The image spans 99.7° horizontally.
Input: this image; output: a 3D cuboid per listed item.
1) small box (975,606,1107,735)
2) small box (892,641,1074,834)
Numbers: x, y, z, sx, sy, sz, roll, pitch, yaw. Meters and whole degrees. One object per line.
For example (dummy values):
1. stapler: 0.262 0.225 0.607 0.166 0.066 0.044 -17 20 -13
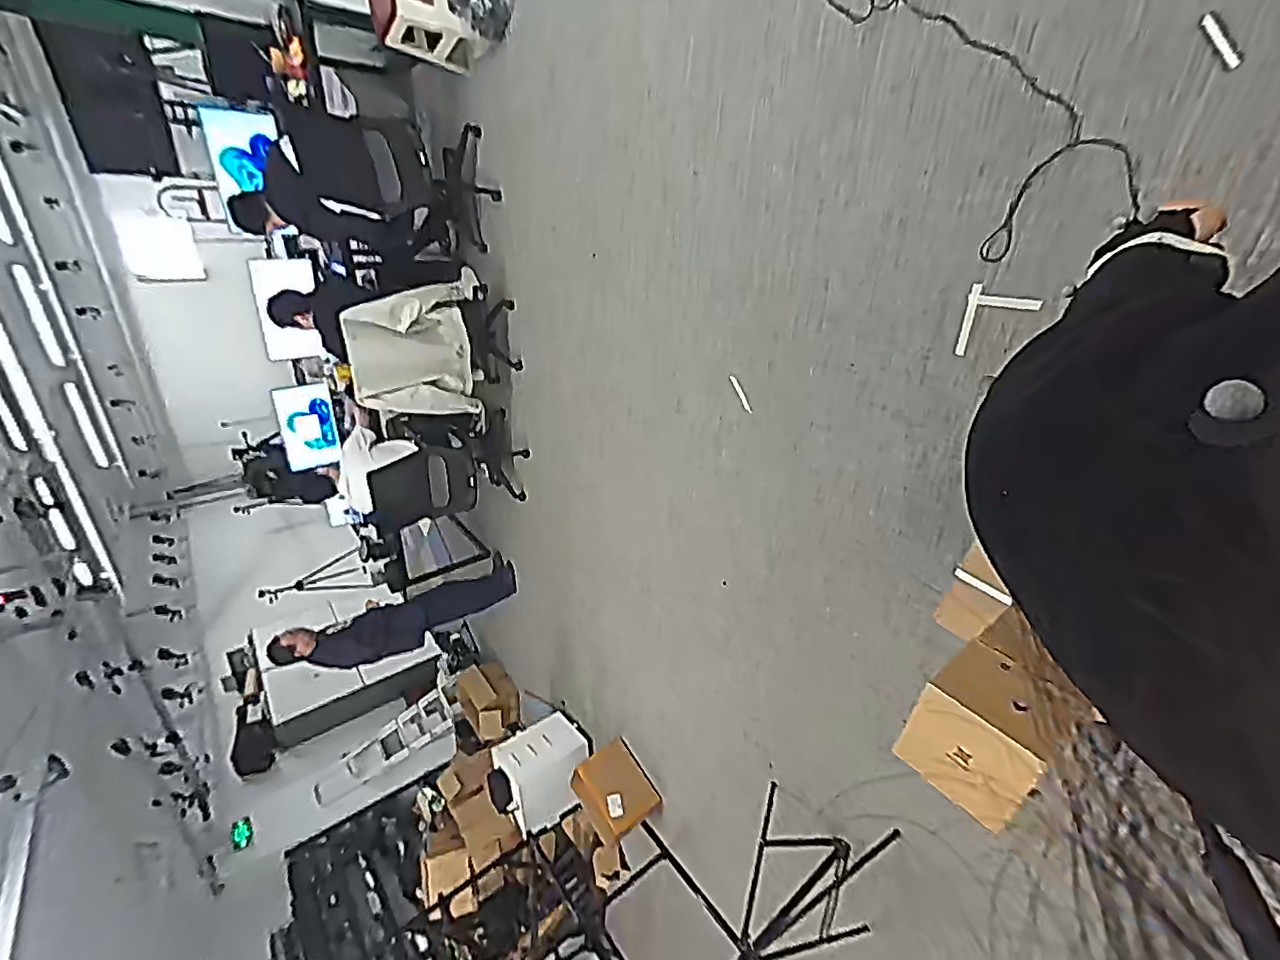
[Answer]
1. small box: 0.662 0.349 0.937 0.168 0.176 0.179 37 131 40
2. small box: 0.534 0.387 0.843 0.168 0.176 0.179 34 131 41
